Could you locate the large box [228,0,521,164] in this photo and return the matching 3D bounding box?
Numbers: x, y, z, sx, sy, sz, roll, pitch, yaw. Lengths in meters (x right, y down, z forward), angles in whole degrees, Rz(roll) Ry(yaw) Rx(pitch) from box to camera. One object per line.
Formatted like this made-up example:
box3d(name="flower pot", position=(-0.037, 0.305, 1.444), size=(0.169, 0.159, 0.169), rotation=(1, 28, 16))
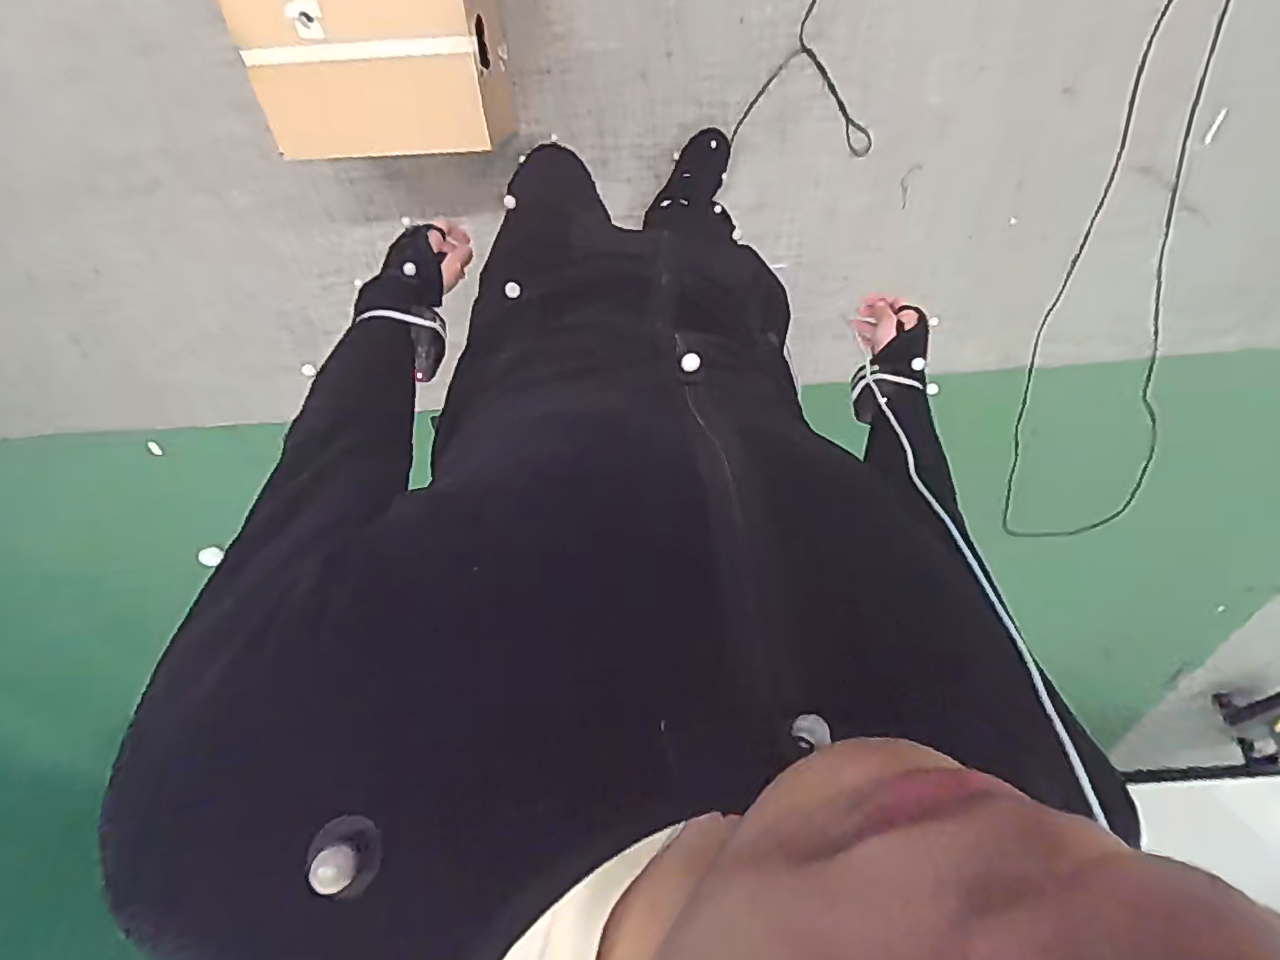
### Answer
box3d(name="large box", position=(-0.481, -0.833, 1.060), size=(0.408, 0.320, 0.320), rotation=(-2, 128, 2))
